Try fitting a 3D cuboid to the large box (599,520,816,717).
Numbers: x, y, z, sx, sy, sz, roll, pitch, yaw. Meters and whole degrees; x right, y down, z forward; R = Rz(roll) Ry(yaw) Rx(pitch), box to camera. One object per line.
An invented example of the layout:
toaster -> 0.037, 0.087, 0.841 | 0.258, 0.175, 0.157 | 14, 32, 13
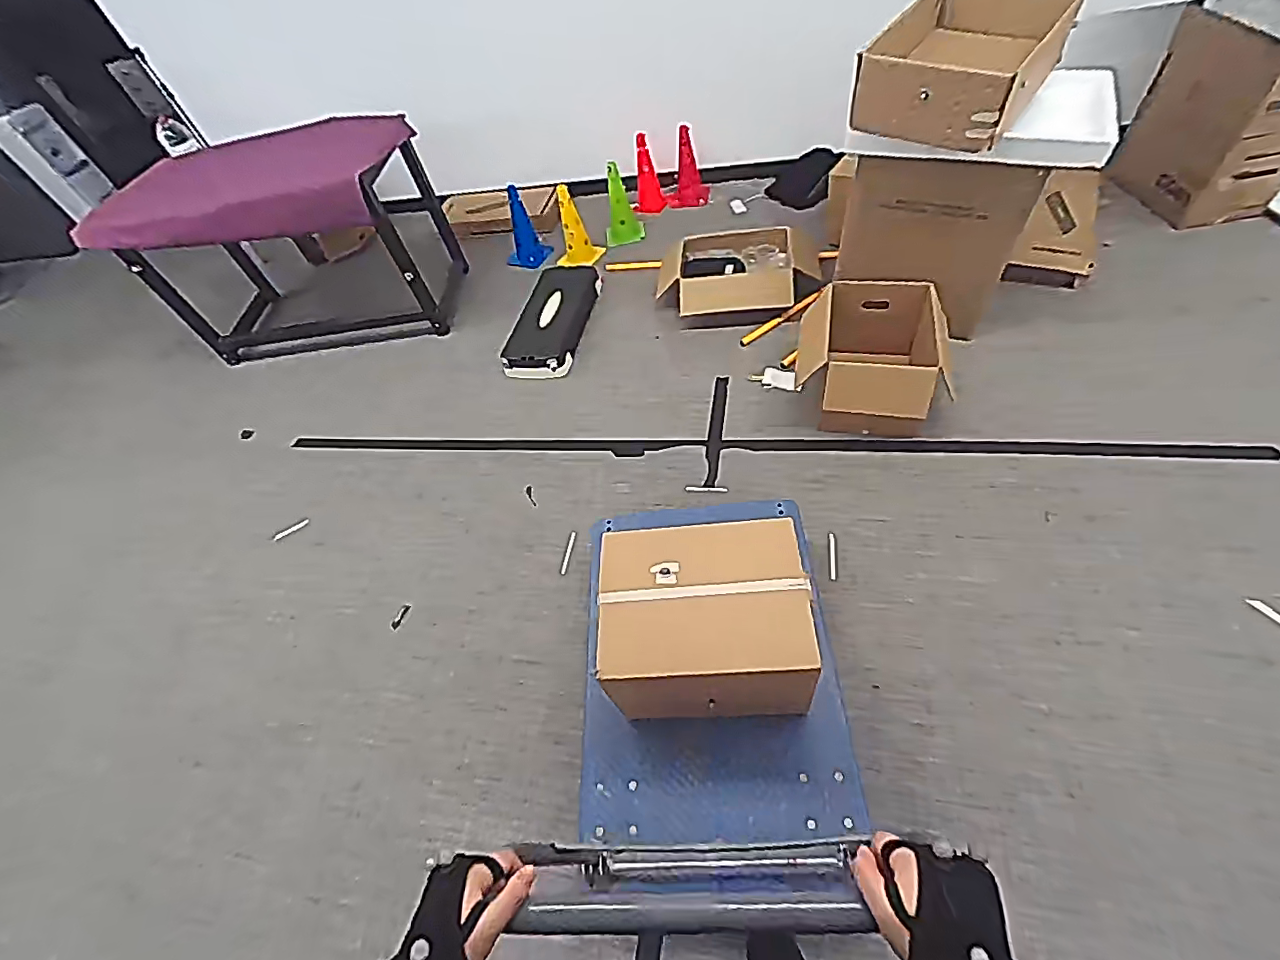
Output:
large box -> 0.144, 0.316, 1.186 | 0.408, 0.320, 0.320 | -6, 52, 8
